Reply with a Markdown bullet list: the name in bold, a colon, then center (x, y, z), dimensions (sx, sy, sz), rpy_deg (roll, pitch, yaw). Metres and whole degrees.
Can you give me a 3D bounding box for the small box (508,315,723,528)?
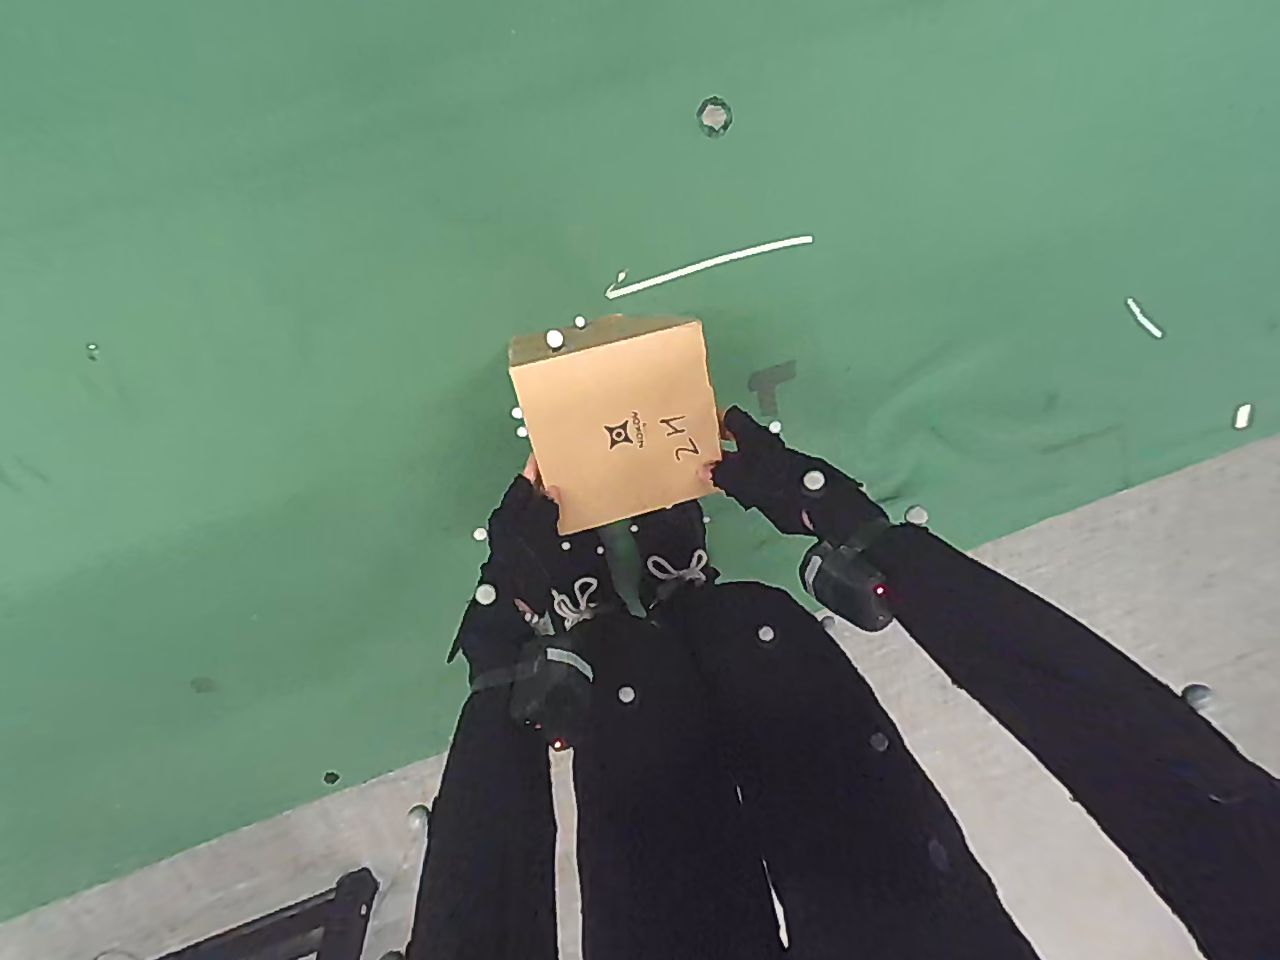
- **small box**: center (-0.031, -0.073, 0.574), dimensions (0.179, 0.176, 0.168), rpy_deg (-15, 112, -7)
